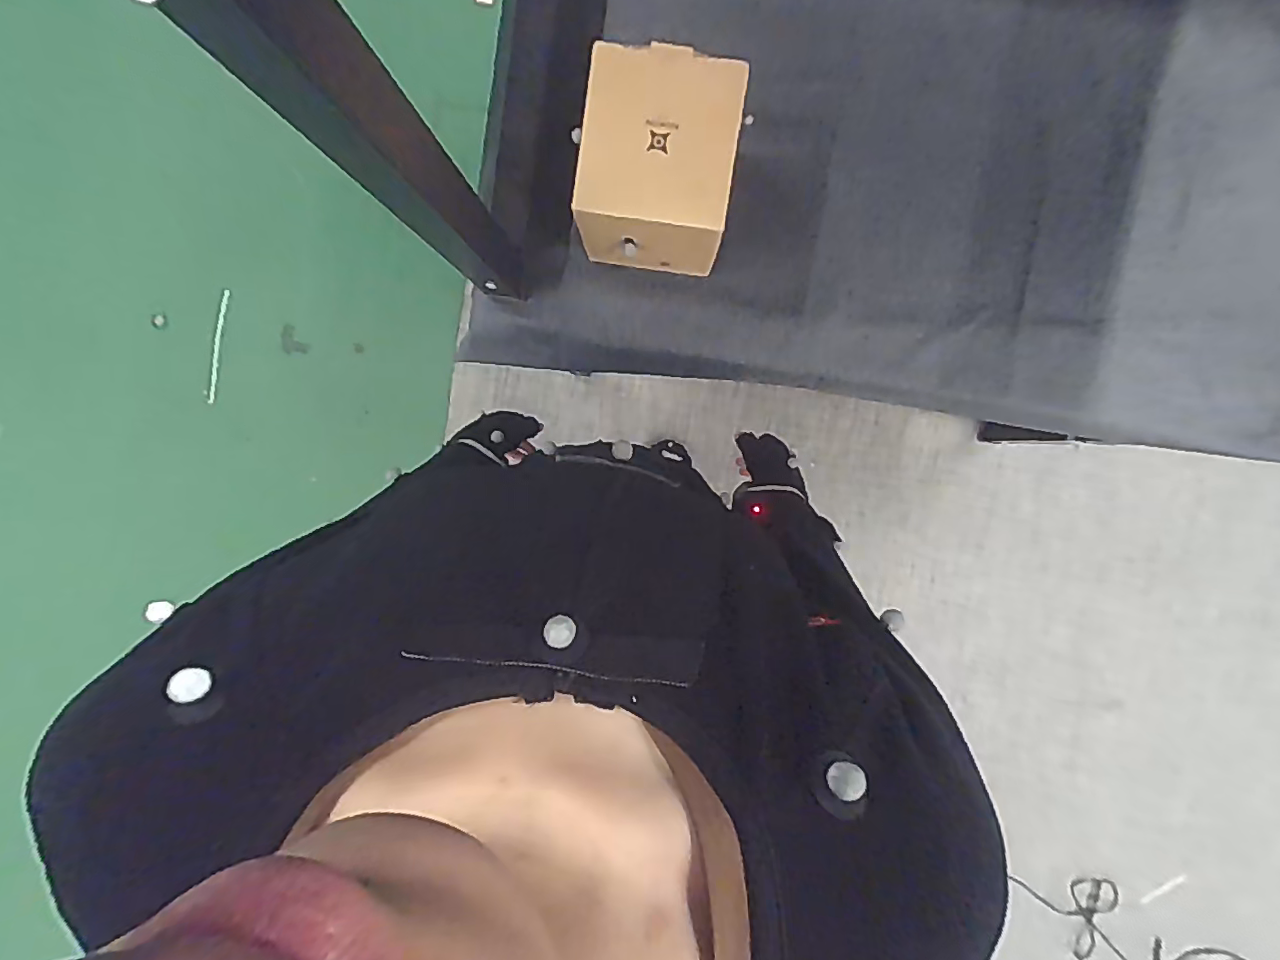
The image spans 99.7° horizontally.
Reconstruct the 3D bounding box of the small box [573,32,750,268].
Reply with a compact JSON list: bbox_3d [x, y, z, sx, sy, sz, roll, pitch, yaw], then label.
[{"bbox_3d":[0.024,-0.369,0.639,0.168,0.176,0.179,8,94,1],"label":"small box"}]
